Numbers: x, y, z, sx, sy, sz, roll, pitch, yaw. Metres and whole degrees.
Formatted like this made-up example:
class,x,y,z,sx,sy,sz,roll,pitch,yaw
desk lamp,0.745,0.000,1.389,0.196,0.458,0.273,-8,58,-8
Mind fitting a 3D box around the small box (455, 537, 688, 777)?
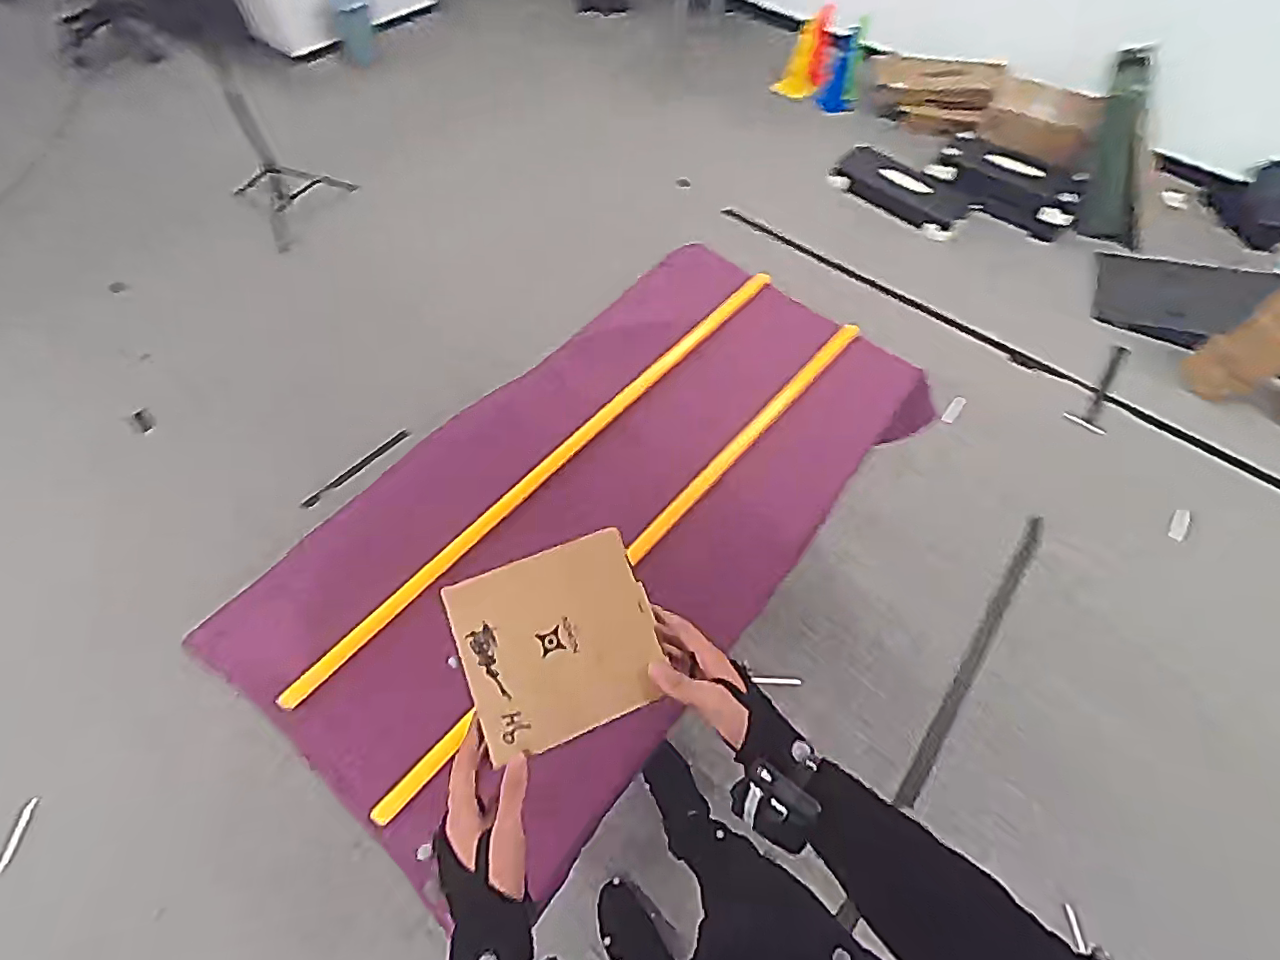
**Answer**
class,x,y,z,sx,sy,sz,roll,pitch,yaw
small box,-0.074,0.175,0.567,0.179,0.176,0.168,-18,75,-13
